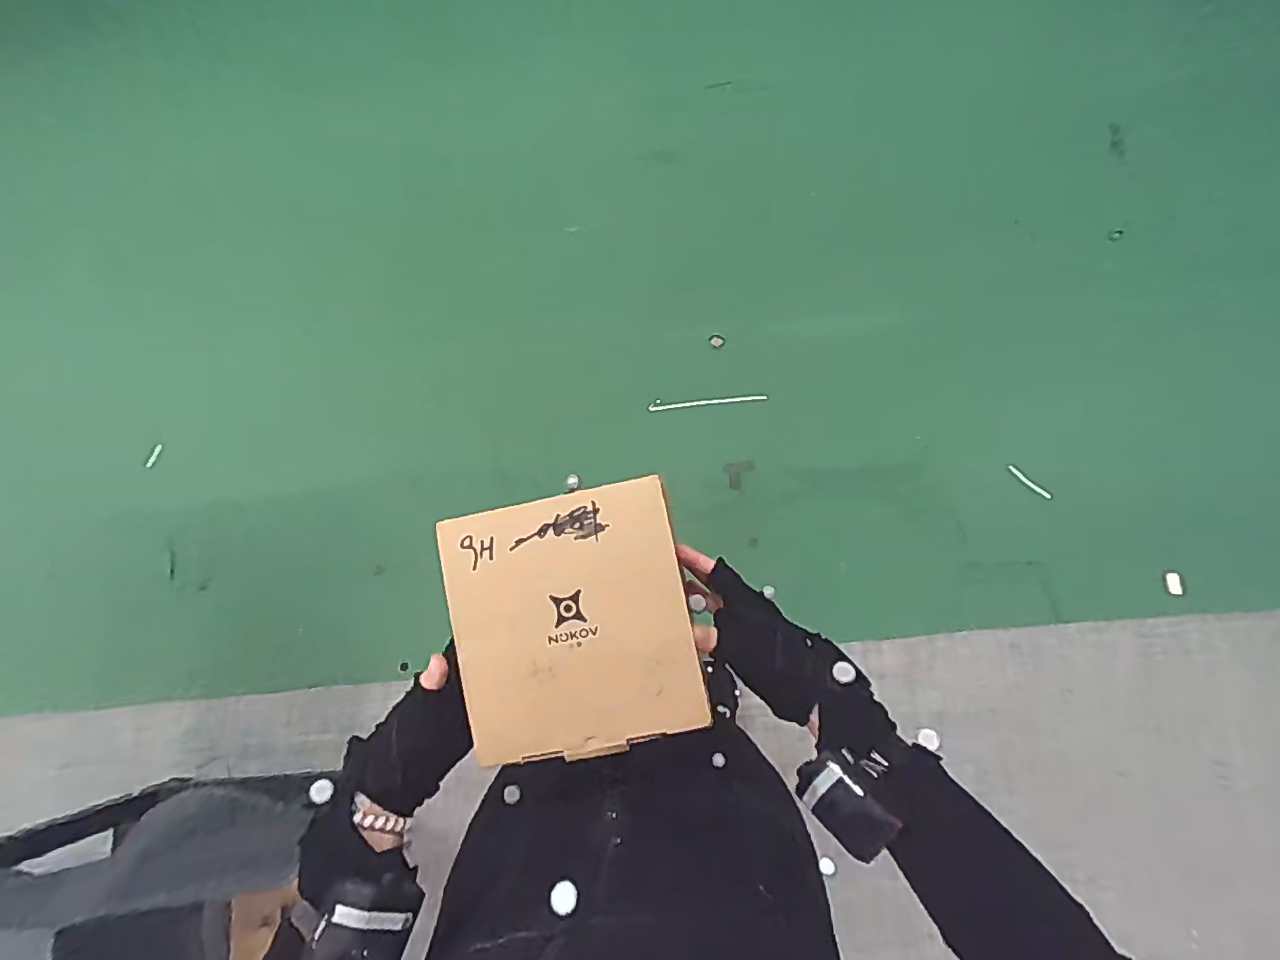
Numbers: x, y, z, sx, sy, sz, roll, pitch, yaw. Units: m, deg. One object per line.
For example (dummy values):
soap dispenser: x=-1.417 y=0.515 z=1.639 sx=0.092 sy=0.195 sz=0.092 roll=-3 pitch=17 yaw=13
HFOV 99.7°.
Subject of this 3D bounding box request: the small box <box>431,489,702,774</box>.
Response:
small box: x=-0.045 y=0.106 z=0.449 sx=0.168 sy=0.176 sz=0.179 roll=-11 pitch=87 yaw=4
